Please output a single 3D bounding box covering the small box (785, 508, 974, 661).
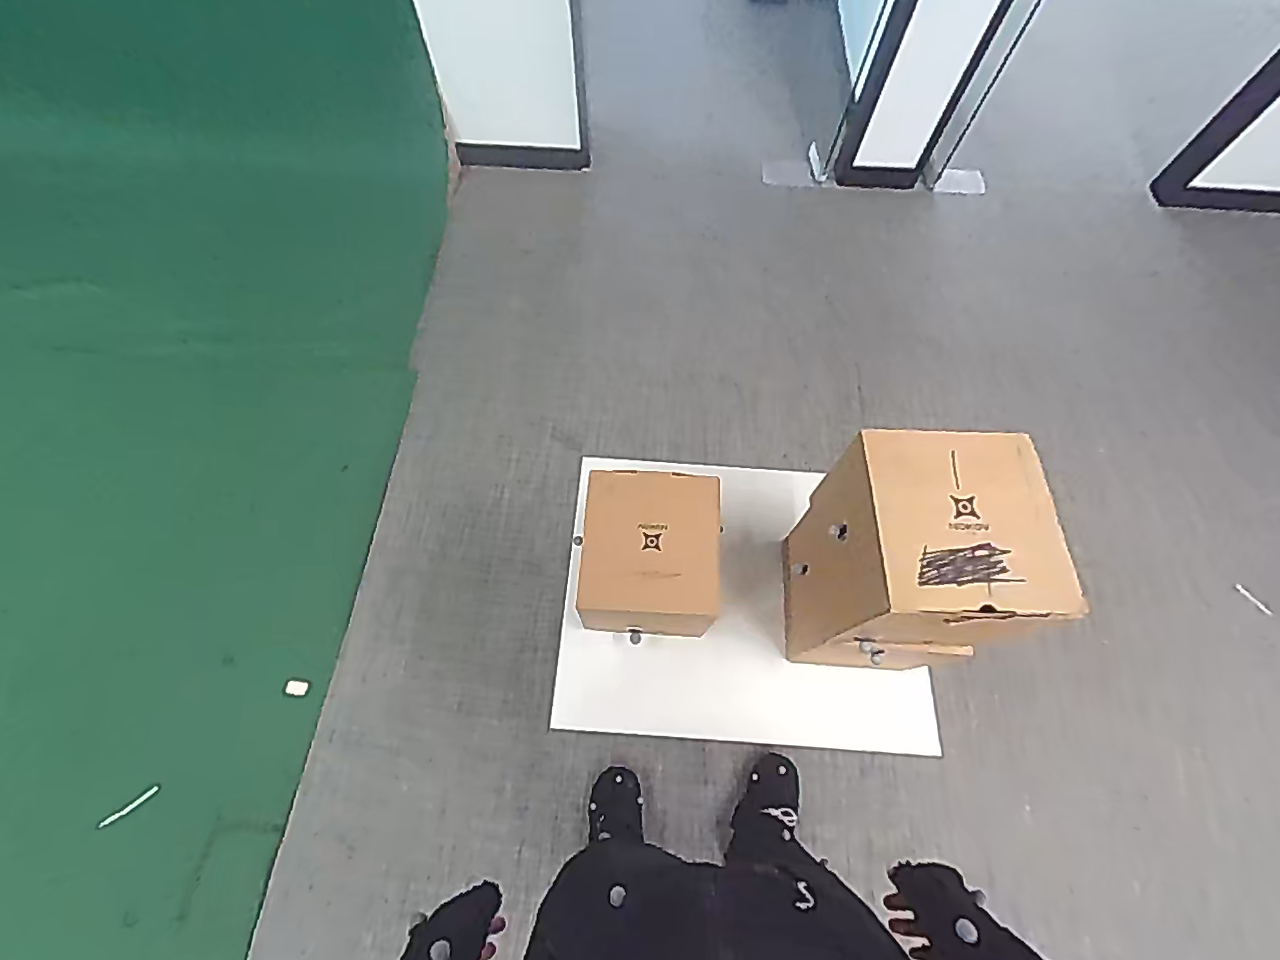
[{"bbox_3d":[0.291,0.130,0.703,0.168,0.176,0.179,3,66,2],"label":"small box"}]

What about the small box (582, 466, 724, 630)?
[{"bbox_3d":[0.016,0.096,0.718,0.168,0.176,0.179,2,68,1],"label":"small box"}]

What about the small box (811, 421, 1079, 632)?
[{"bbox_3d":[0.286,0.057,0.555,0.168,0.176,0.179,1,66,0],"label":"small box"}]
